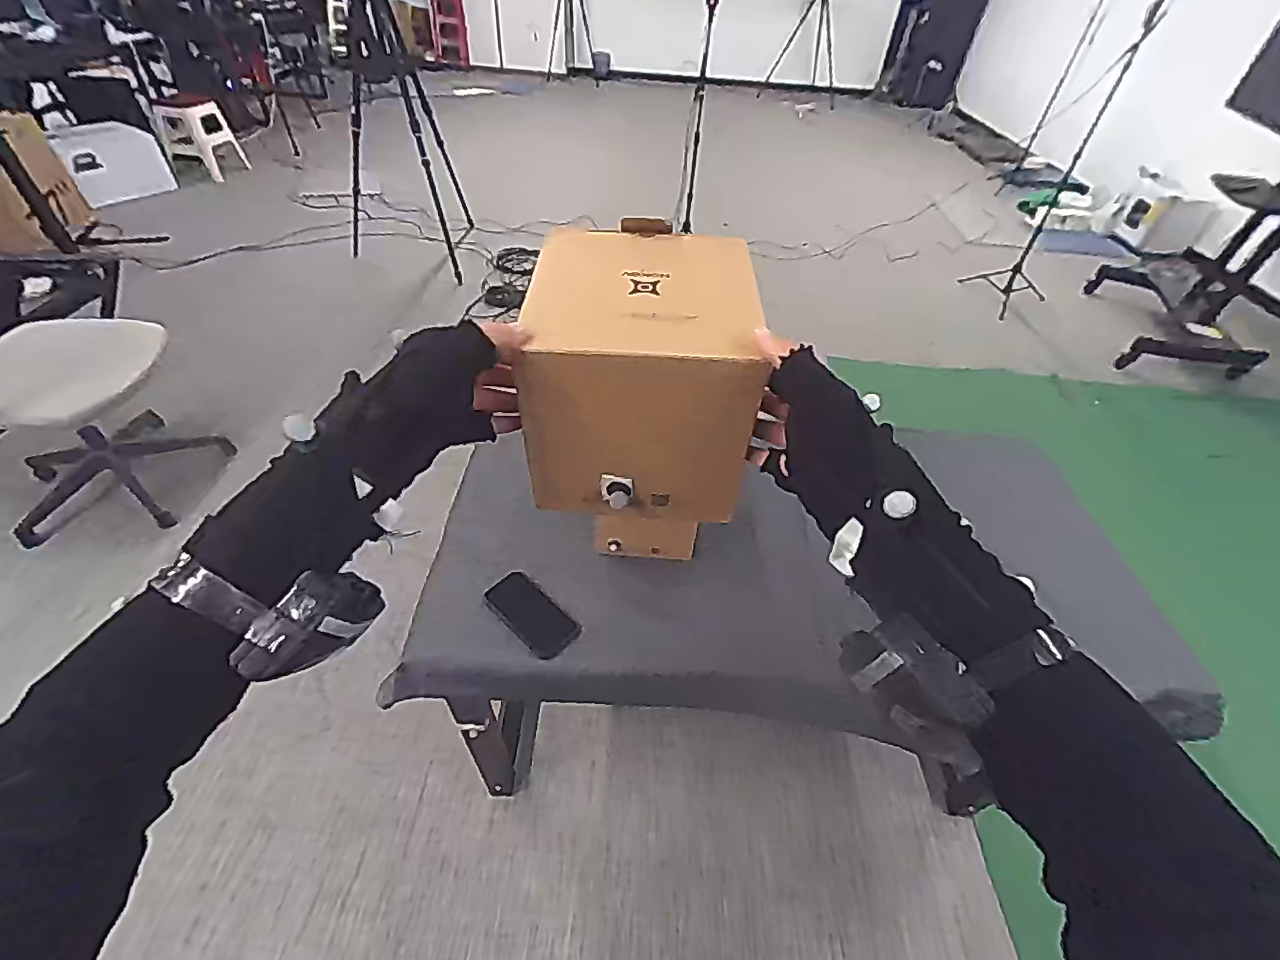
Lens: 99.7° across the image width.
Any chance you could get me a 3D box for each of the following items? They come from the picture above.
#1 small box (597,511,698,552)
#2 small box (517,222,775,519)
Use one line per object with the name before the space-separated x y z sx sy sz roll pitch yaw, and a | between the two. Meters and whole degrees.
small box | 0.018 0.005 0.927 0.168 0.176 0.179 5 44 0
small box | 0.003 -0.090 0.450 0.168 0.176 0.179 2 49 0
